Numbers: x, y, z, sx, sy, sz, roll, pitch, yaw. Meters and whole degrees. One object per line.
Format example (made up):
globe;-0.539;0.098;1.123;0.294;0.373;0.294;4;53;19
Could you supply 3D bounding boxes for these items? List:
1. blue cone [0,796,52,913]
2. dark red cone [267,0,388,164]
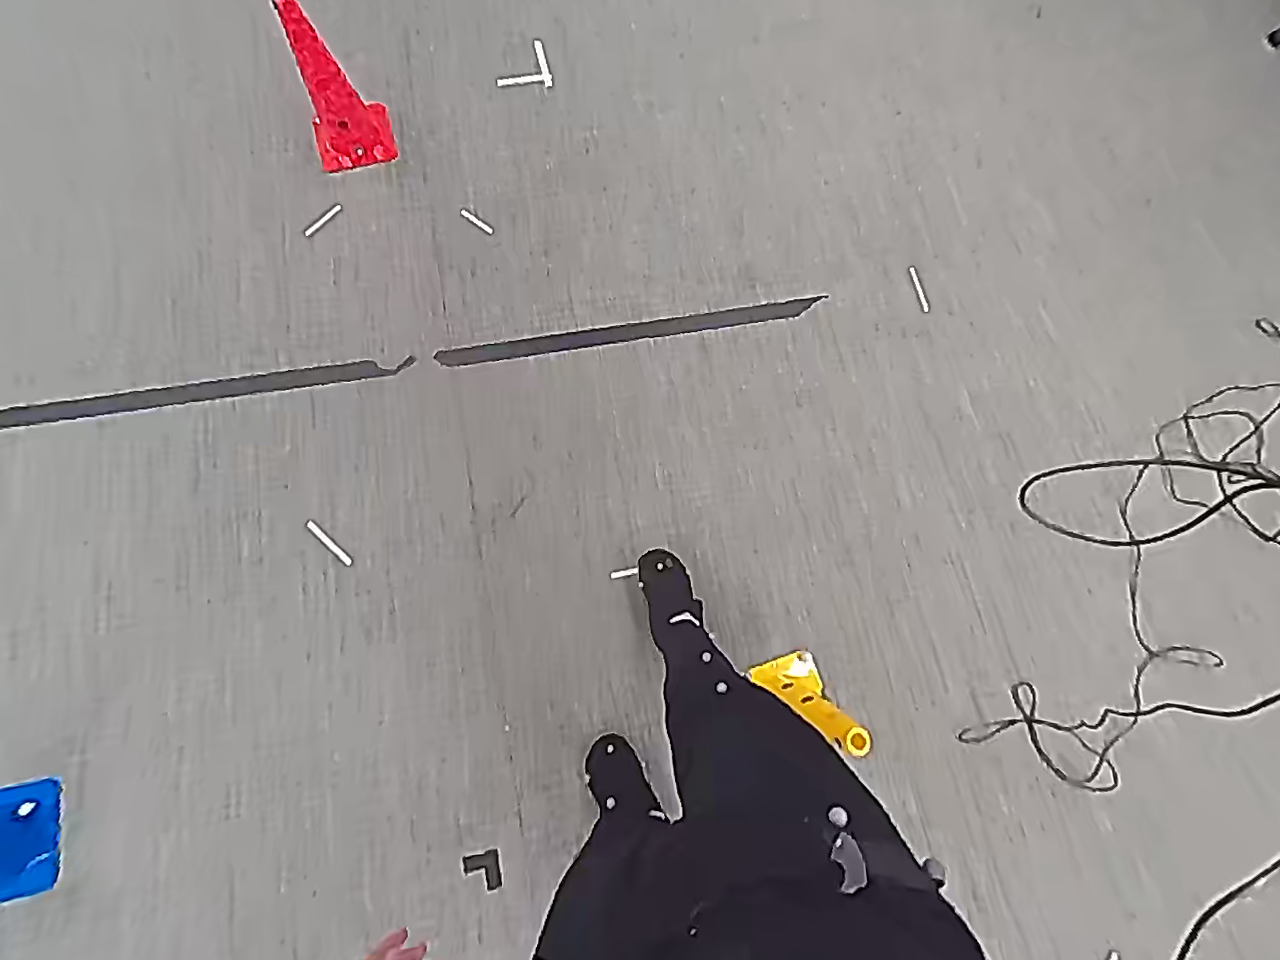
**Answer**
blue cone;-1.197;0.669;0.856;0.193;0.380;0.192;-10;77;-6
dark red cone;-0.784;-0.984;1.301;0.202;0.394;0.201;-18;78;-8
